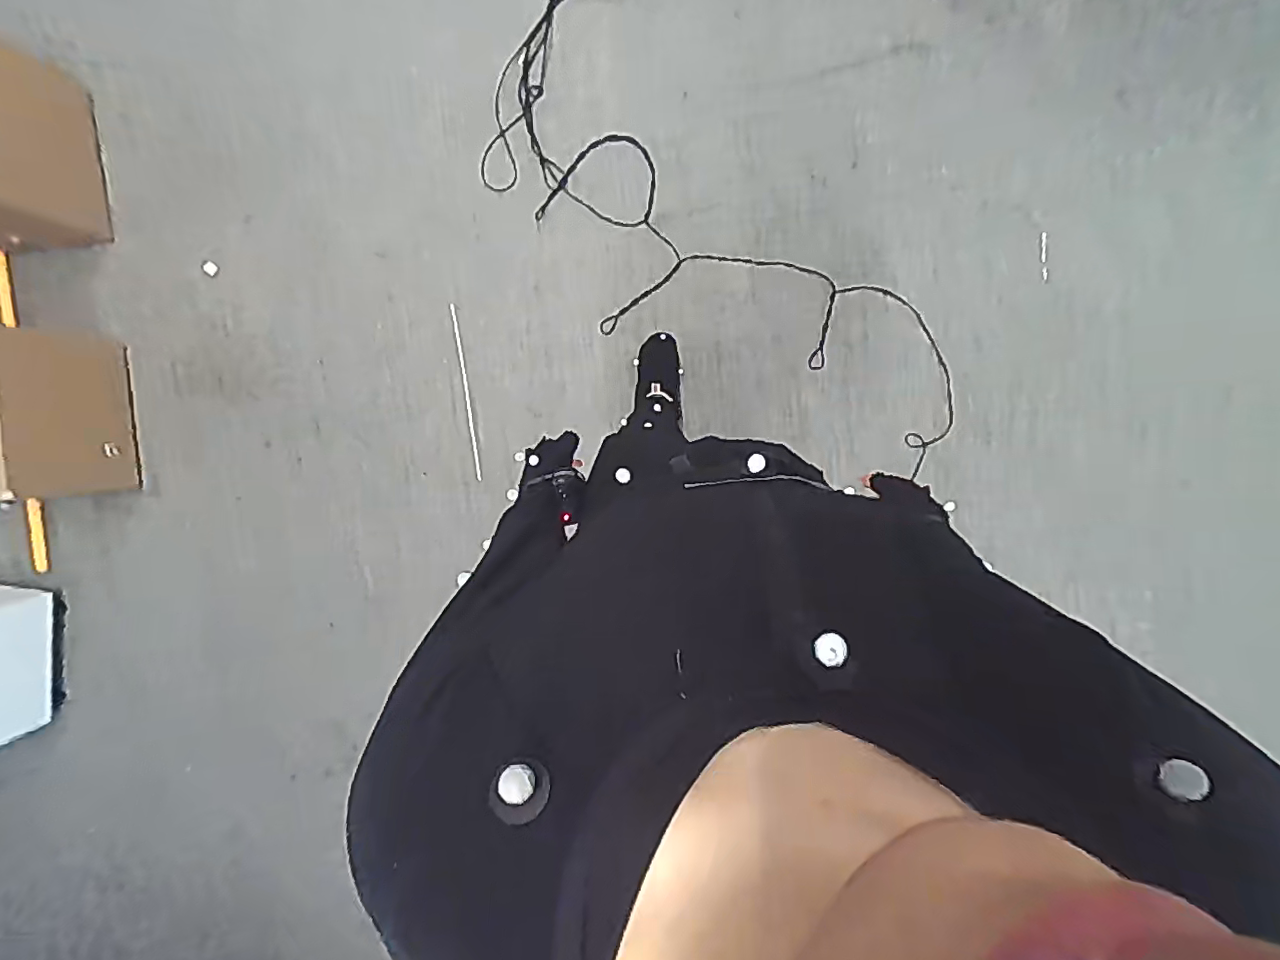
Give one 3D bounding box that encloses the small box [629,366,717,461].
[{"bbox_3d":[0.077,-0.175,1.388,0.168,0.176,0.179,19,107,-12],"label":"small box"}]
